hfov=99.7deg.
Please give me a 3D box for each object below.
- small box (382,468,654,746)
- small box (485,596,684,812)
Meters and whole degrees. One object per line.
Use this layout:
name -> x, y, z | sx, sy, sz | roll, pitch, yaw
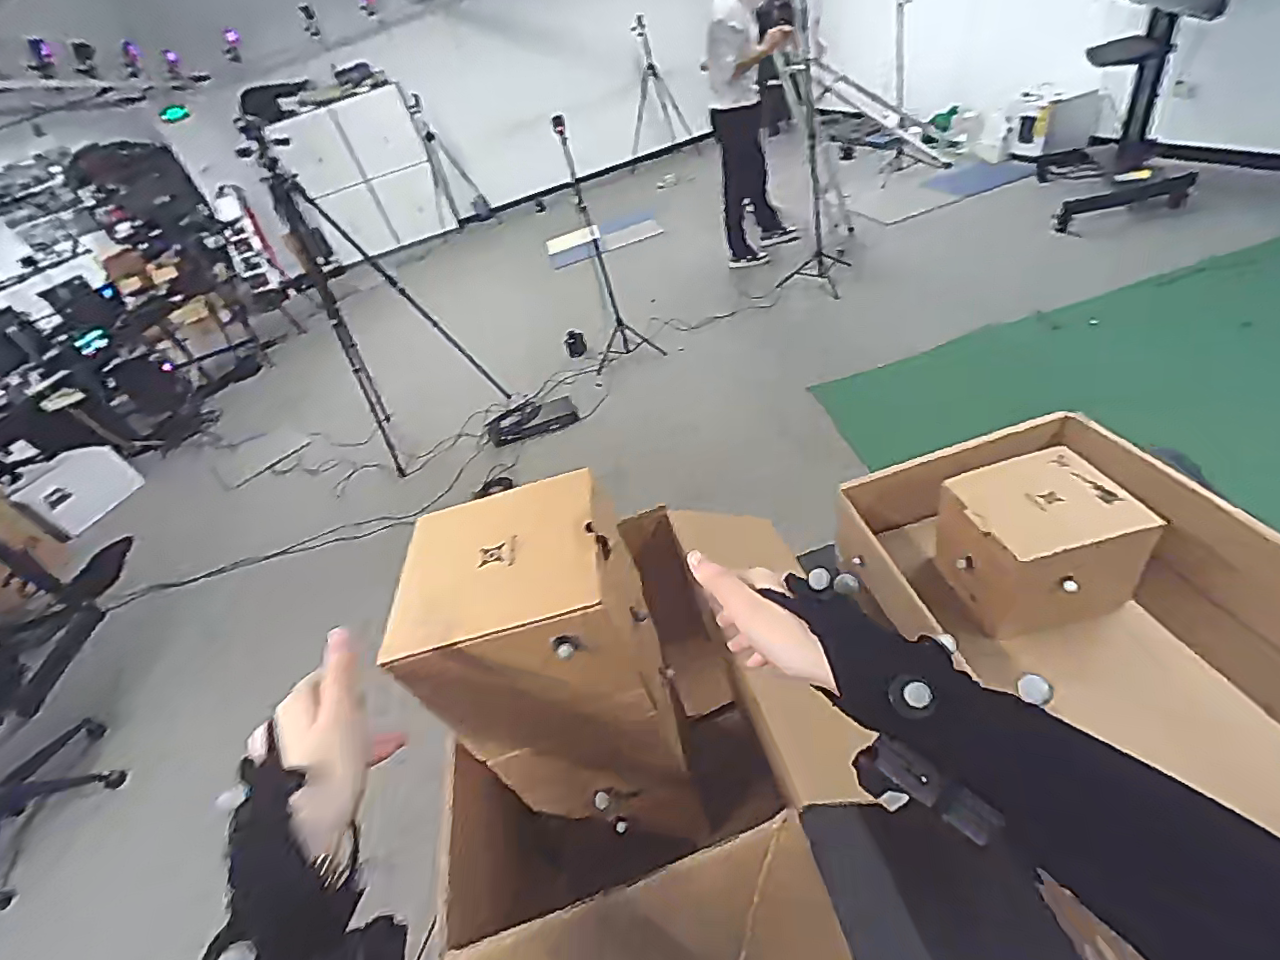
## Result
small box -> -0.099, 0.121, 0.505 | 0.179, 0.176, 0.168 | -16, 39, 3
small box -> -0.058, 0.237, 0.610 | 0.168, 0.176, 0.179 | -17, 41, 3
